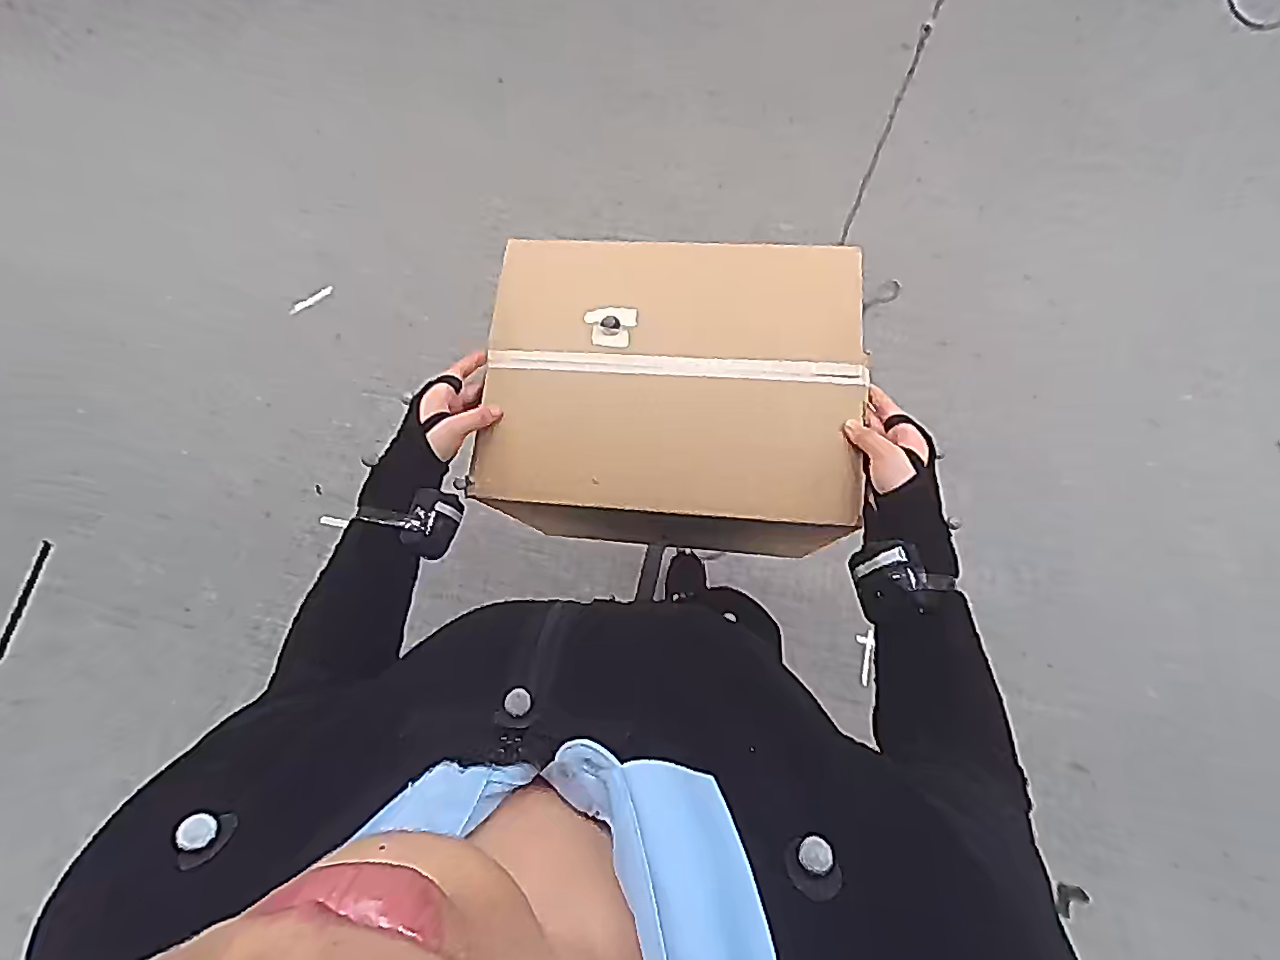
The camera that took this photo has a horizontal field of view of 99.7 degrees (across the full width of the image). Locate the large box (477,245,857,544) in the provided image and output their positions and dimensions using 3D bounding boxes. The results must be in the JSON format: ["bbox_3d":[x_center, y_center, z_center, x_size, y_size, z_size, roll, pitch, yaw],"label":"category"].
[{"bbox_3d":[0.046,-0.087,0.738,0.408,0.320,0.320,3,76,7],"label":"large box"}]
